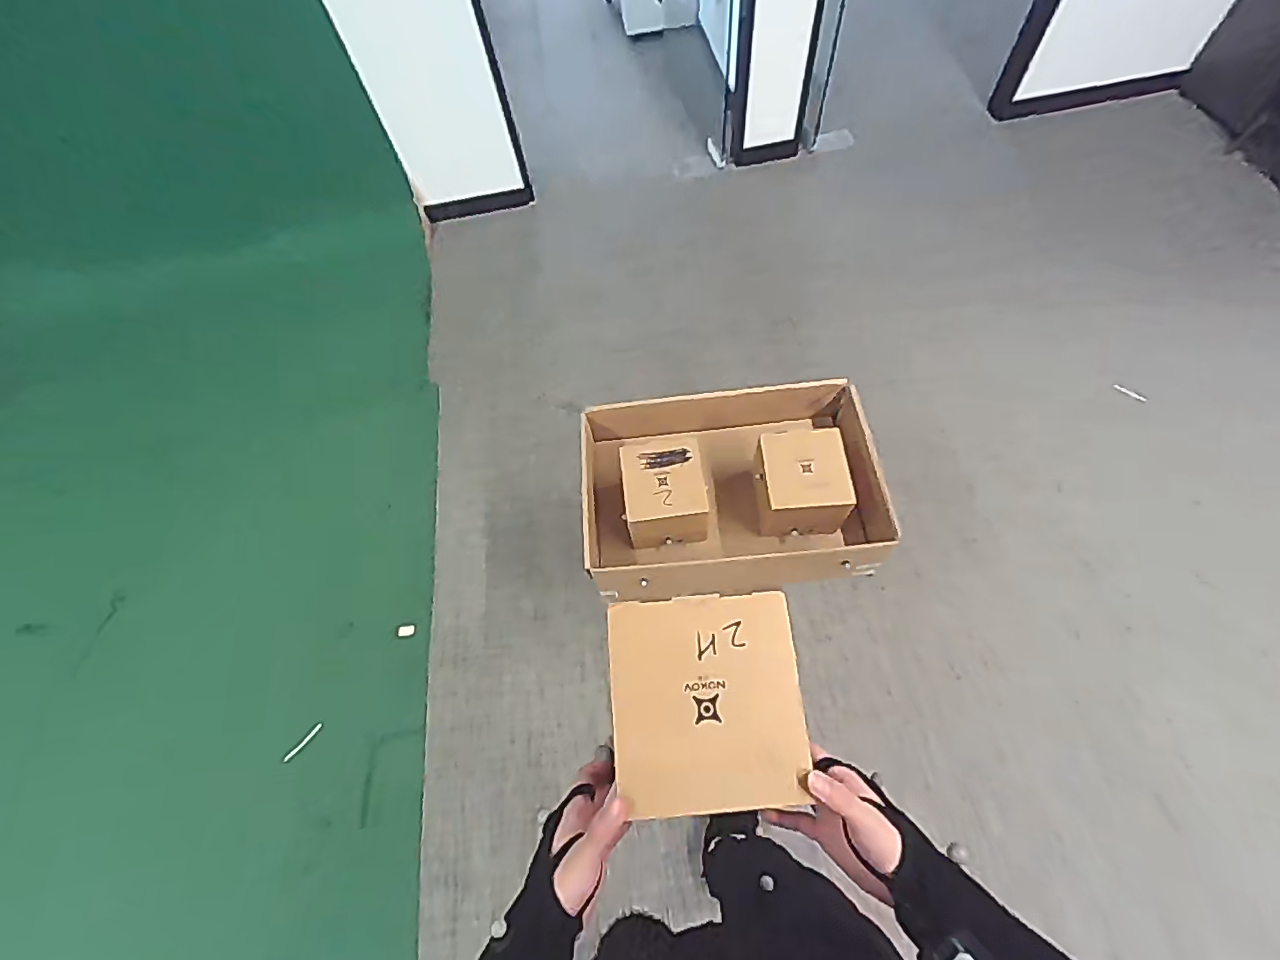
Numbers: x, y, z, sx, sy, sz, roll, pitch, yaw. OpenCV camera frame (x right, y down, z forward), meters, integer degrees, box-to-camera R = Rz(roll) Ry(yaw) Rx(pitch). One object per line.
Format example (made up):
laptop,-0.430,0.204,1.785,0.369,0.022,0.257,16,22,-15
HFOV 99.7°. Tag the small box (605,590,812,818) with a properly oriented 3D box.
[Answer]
small box,0.055,0.214,0.542,0.168,0.176,0.179,-4,70,-2
